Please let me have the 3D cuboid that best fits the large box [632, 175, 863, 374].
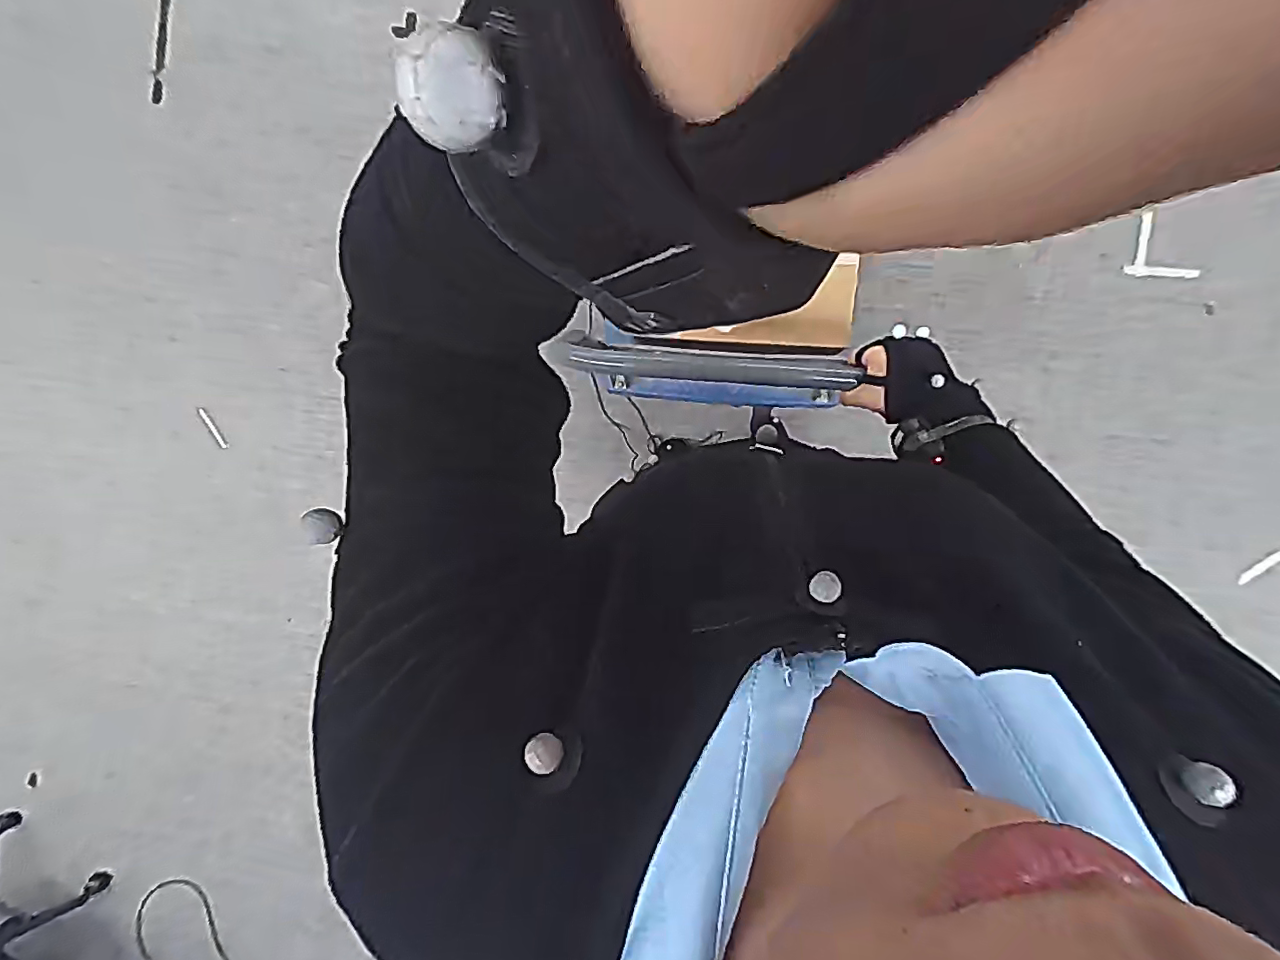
[{"bbox_3d":[0.200,-0.402,1.129,0.408,0.320,0.320,4,95,5],"label":"large box"}]
